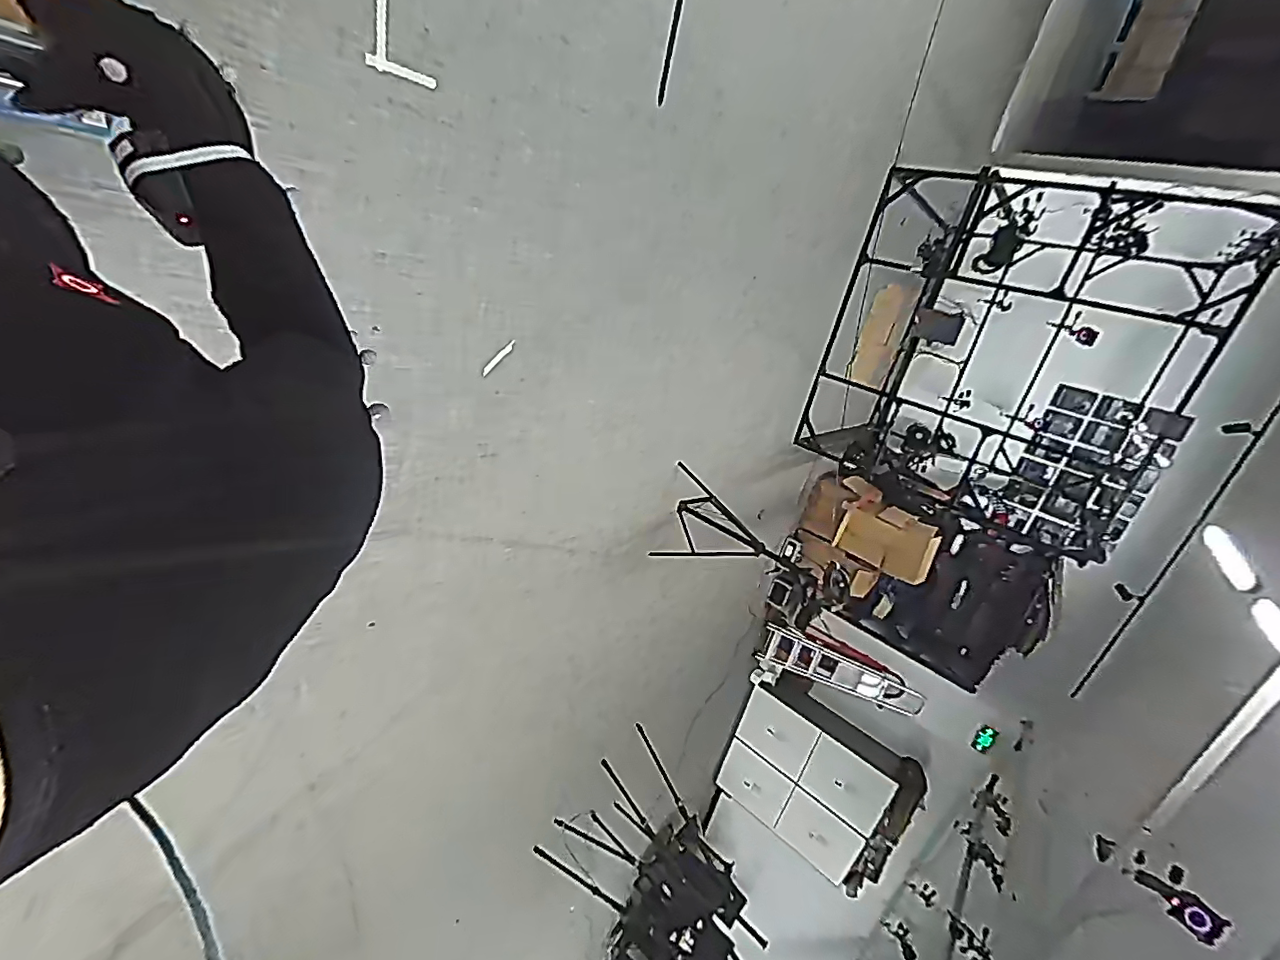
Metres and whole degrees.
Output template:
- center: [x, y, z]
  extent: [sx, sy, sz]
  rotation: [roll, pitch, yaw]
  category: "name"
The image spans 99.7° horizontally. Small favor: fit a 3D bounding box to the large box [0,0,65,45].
- center: [-0.863, -0.652, 0.482]
  extent: [0.408, 0.320, 0.320]
  rotation: [-18, 128, -50]
  category: "large box"
